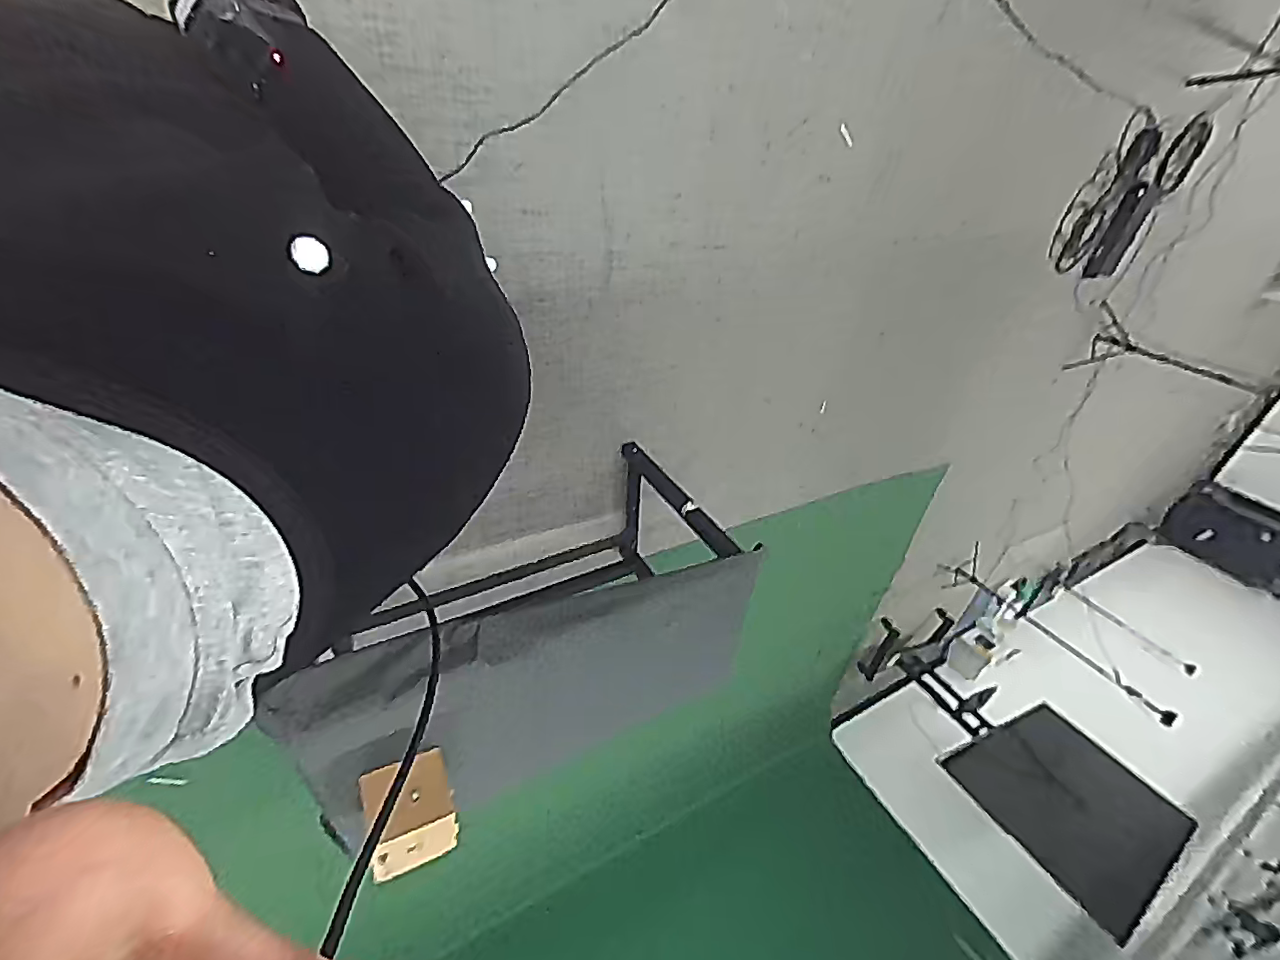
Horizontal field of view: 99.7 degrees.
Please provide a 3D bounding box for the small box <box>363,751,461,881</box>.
[{"bbox_3d":[-0.529,0.771,1.259,0.179,0.176,0.168,-11,127,-30],"label":"small box"}]
